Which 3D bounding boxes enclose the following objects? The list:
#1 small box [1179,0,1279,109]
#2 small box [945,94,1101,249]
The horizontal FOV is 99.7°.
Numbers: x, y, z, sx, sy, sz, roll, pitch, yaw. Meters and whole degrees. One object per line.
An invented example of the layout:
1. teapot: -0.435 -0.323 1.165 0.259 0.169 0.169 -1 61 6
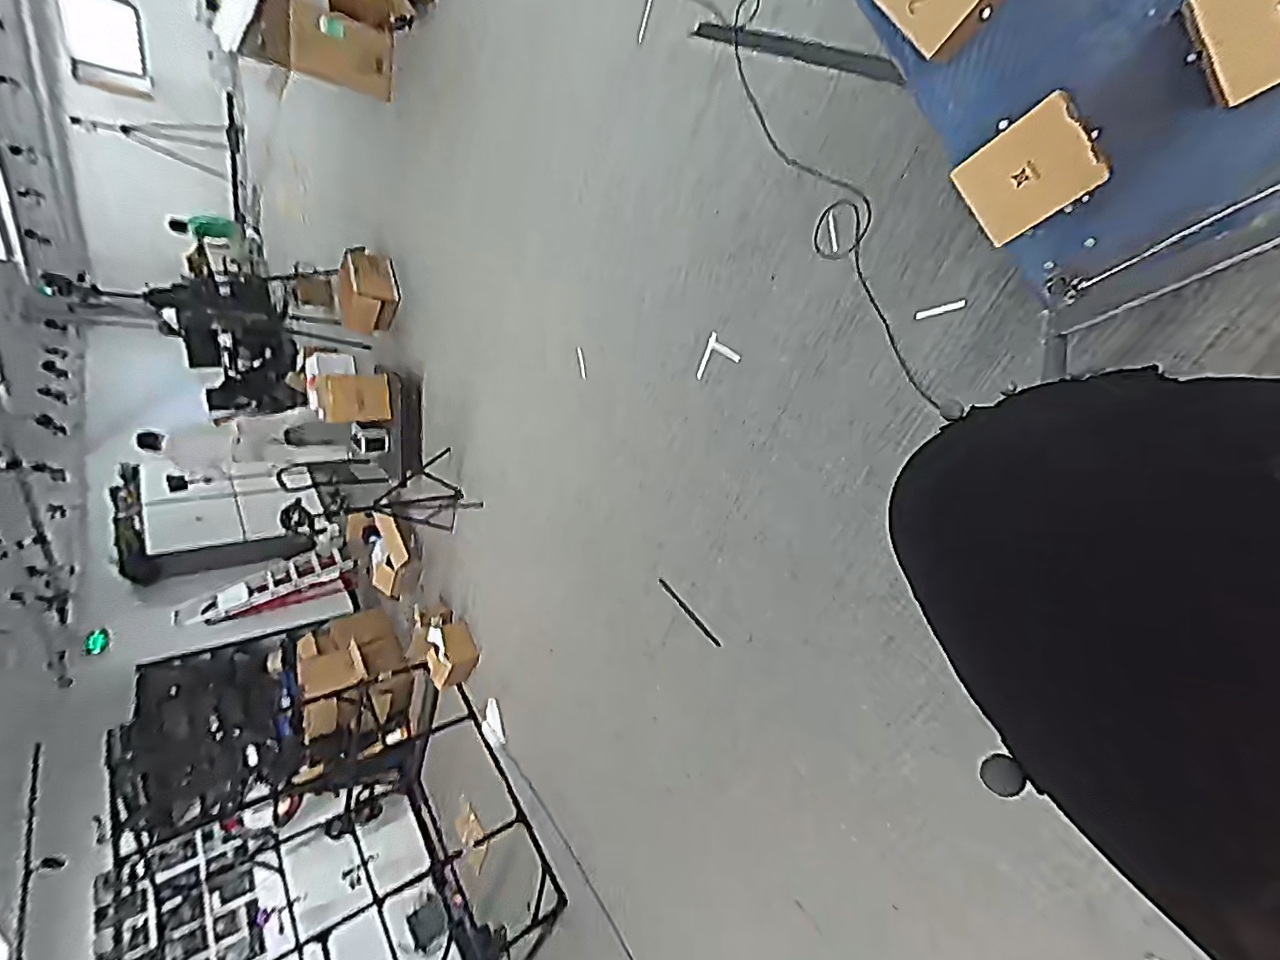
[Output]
1. small box: 0.887 -0.651 0.746 0.179 0.176 0.168 -21 103 47
2. small box: 0.696 -0.555 0.981 0.179 0.176 0.168 -32 96 46
